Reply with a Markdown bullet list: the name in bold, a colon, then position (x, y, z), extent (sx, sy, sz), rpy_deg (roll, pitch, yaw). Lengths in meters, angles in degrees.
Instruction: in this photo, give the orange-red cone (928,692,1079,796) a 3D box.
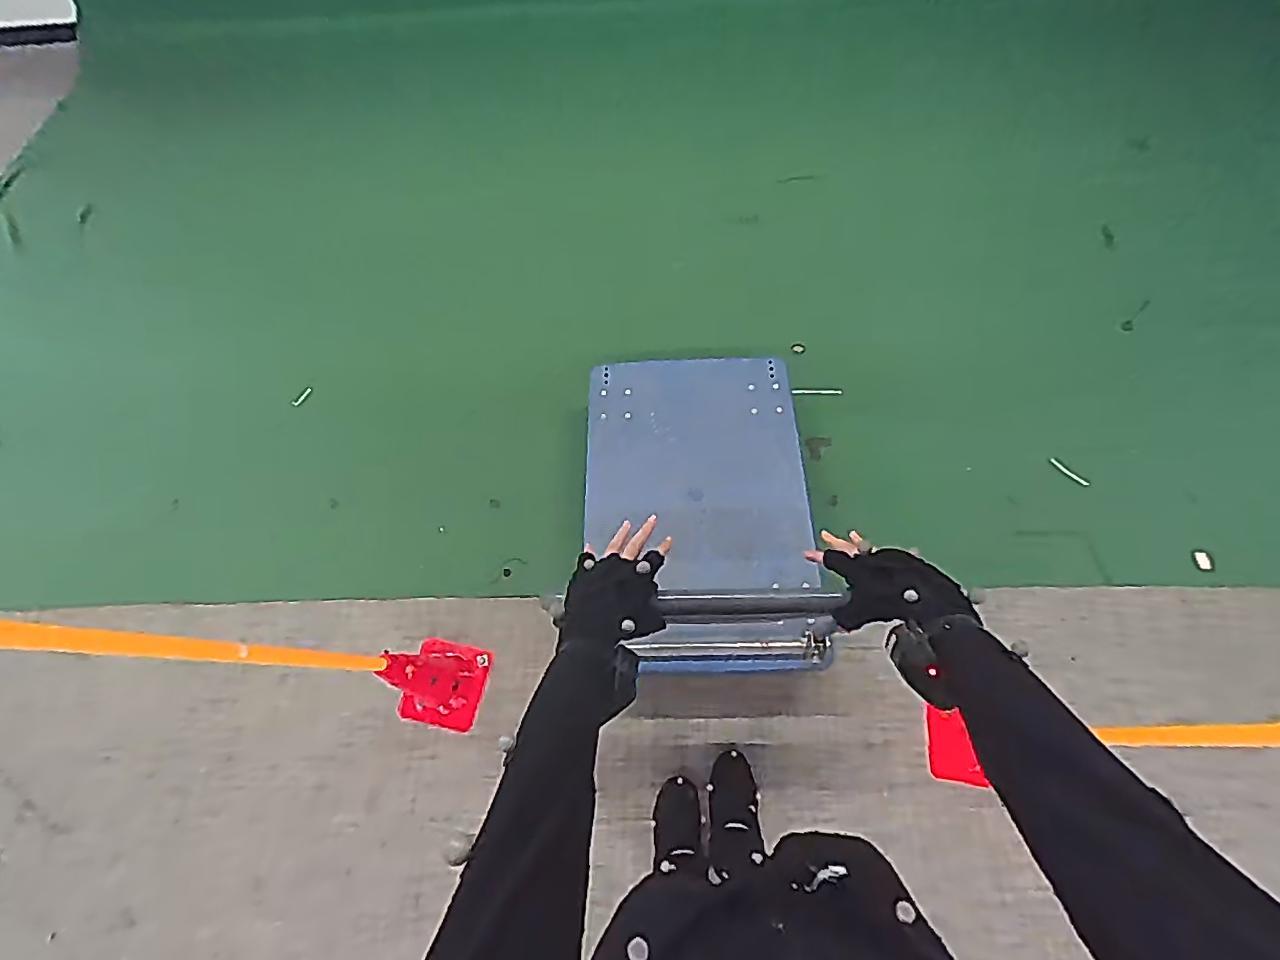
- **orange-red cone**: position (0.777, 0.543, 1.124), extent (0.198, 0.360, 0.199), rpy_deg (9, 65, 8)
